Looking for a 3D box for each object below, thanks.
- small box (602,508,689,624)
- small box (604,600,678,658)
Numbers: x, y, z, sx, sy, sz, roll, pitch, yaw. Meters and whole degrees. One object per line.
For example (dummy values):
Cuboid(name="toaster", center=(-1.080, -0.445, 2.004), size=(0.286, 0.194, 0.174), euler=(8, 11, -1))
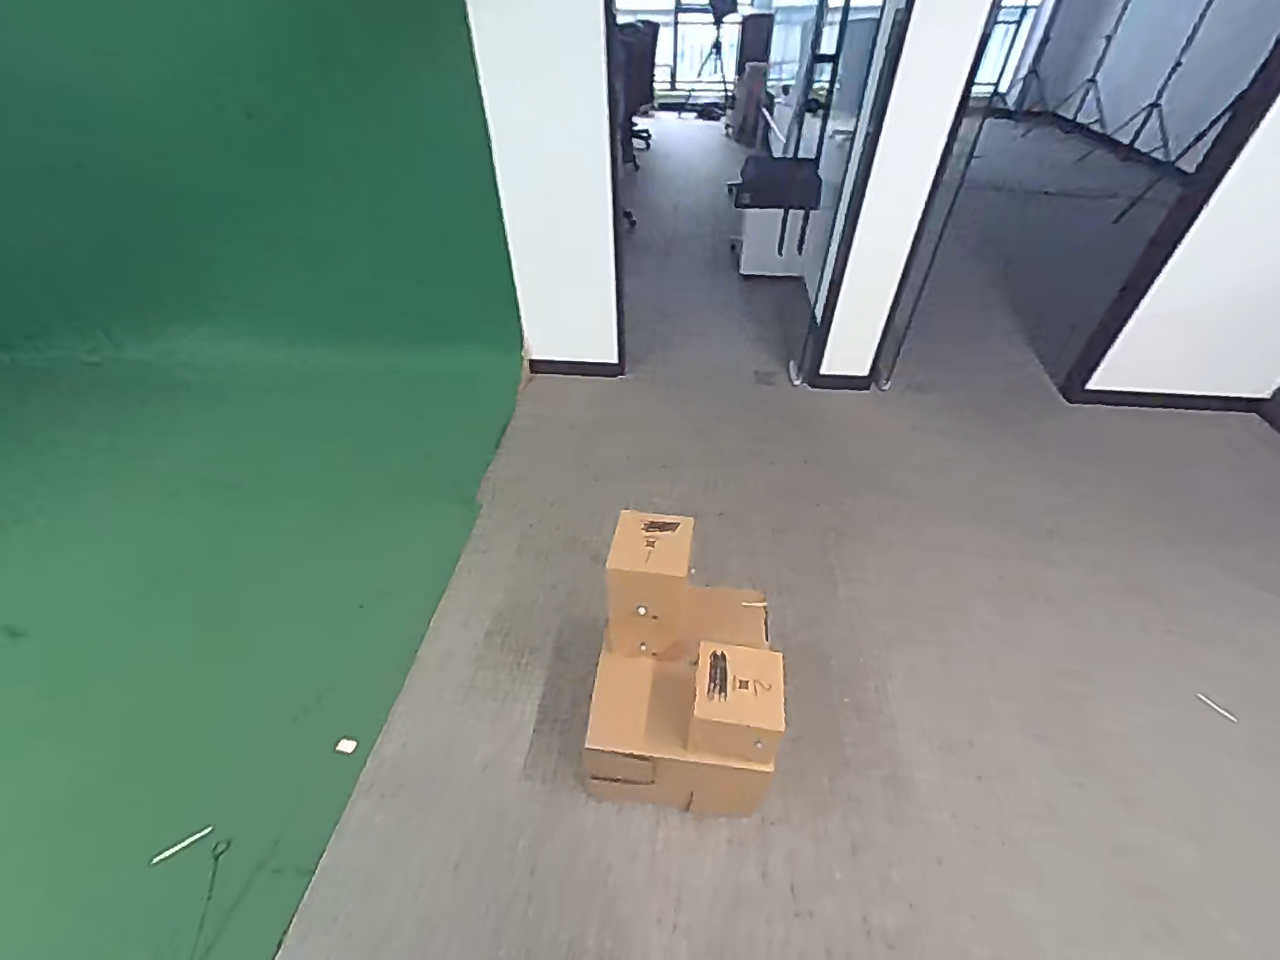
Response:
Cuboid(name="small box", center=(0.015, 0.189, 1.195), size=(0.168, 0.176, 0.179), euler=(5, 41, 7))
Cuboid(name="small box", center=(0.010, 0.304, 1.314), size=(0.168, 0.176, 0.179), euler=(4, 40, 6))
